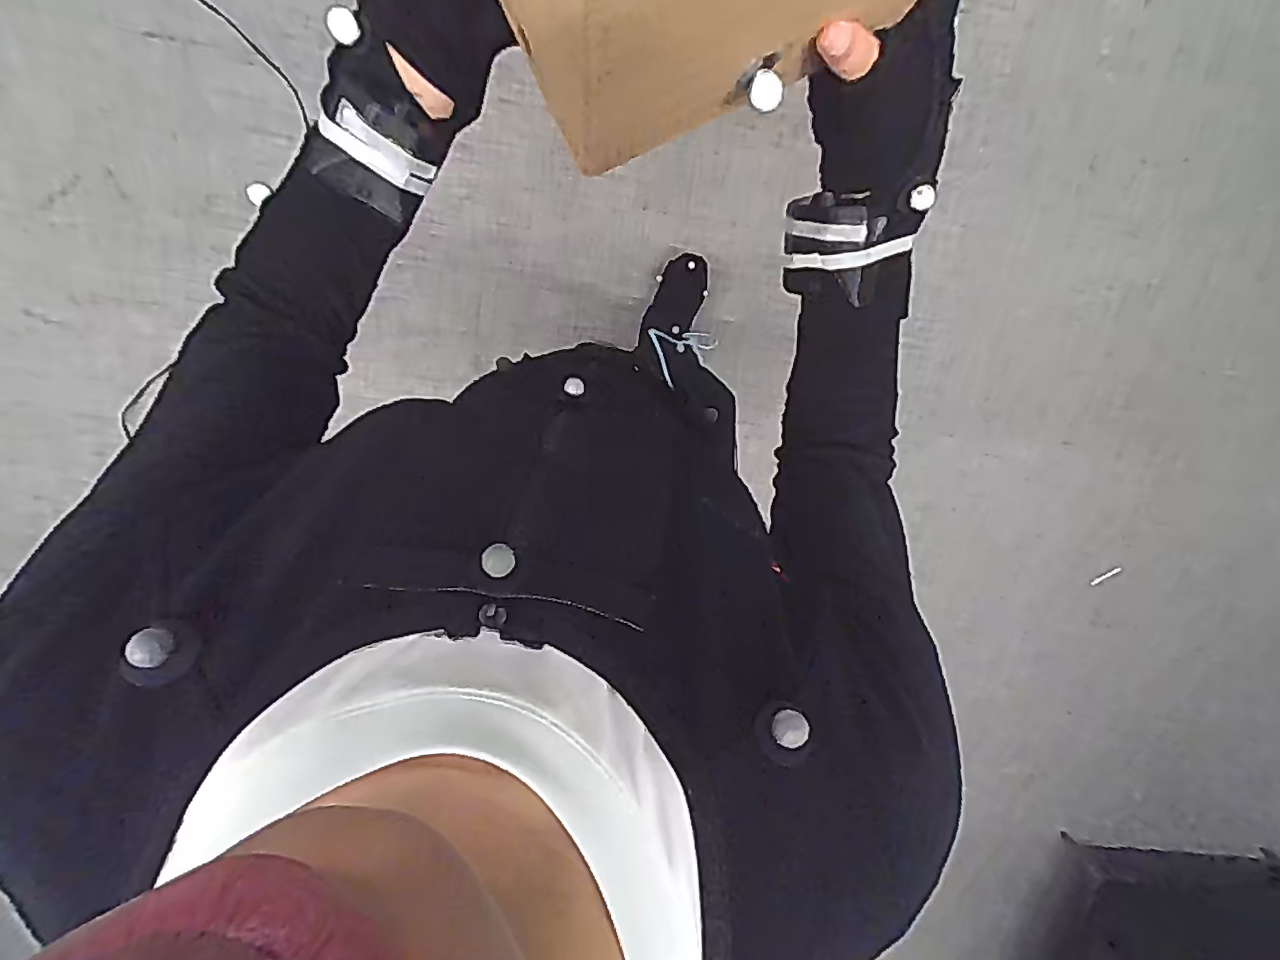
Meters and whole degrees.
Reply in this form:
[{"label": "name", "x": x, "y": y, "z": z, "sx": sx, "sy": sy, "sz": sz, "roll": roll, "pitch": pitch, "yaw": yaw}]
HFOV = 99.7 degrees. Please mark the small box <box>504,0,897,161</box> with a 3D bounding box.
[{"label": "small box", "x": 0.023, "y": -0.248, "z": 0.181, "sx": 0.179, "sy": 0.176, "sz": 0.168, "roll": -26, "pitch": 103, "yaw": 0}]
